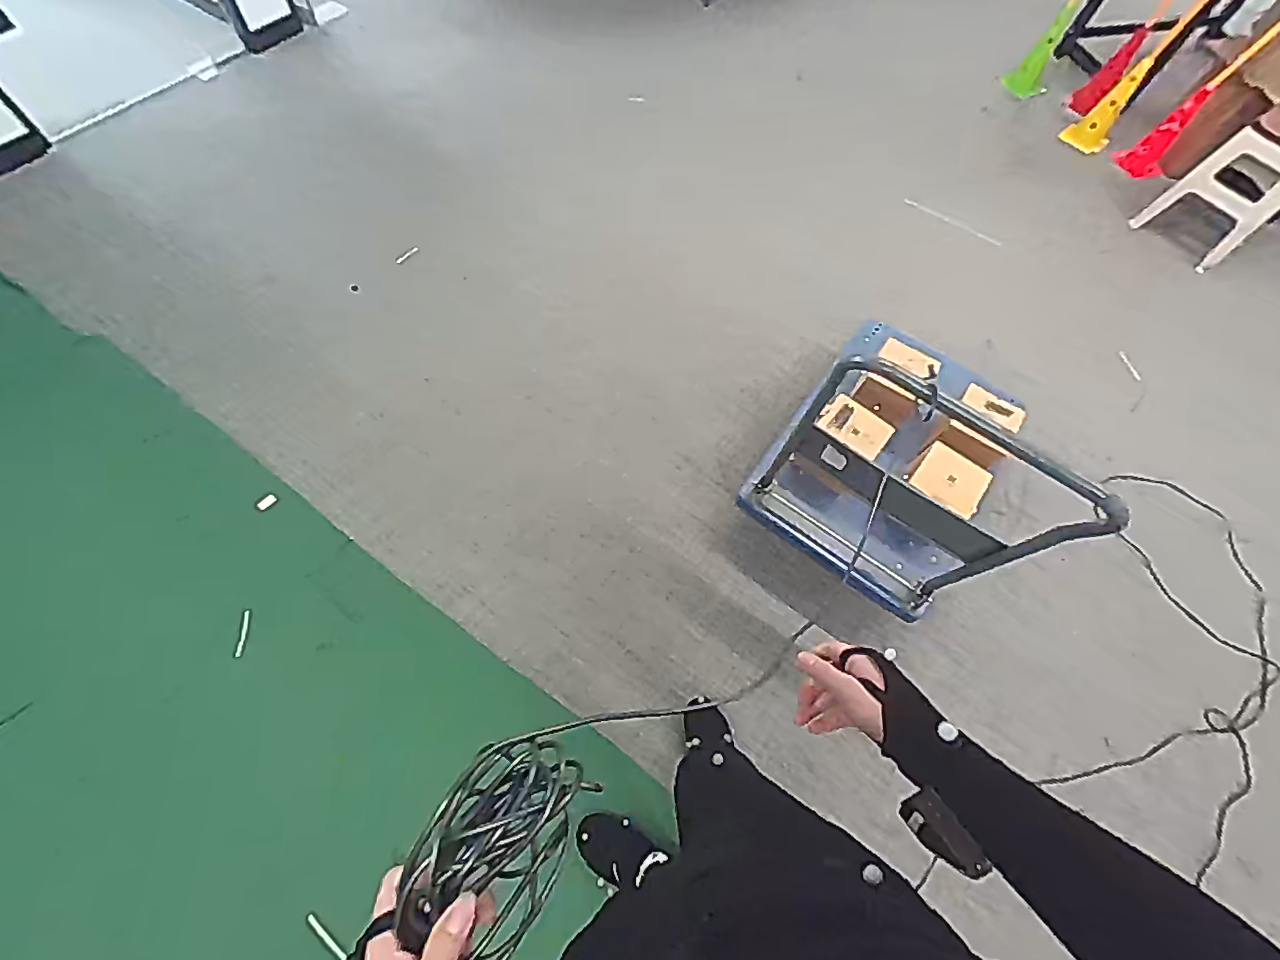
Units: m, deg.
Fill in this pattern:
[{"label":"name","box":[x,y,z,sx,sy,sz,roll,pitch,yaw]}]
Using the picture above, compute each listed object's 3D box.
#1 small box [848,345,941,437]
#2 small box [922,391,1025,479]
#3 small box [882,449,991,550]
[{"label":"small box","box":[0.745,-0.258,1.604,0.168,0.176,0.179,33,66,10]},{"label":"small box","box":[0.947,-0.112,1.550,0.168,0.176,0.179,34,67,12]},{"label":"small box","box":[0.789,0.057,1.456,0.168,0.176,0.179,37,67,13]}]
